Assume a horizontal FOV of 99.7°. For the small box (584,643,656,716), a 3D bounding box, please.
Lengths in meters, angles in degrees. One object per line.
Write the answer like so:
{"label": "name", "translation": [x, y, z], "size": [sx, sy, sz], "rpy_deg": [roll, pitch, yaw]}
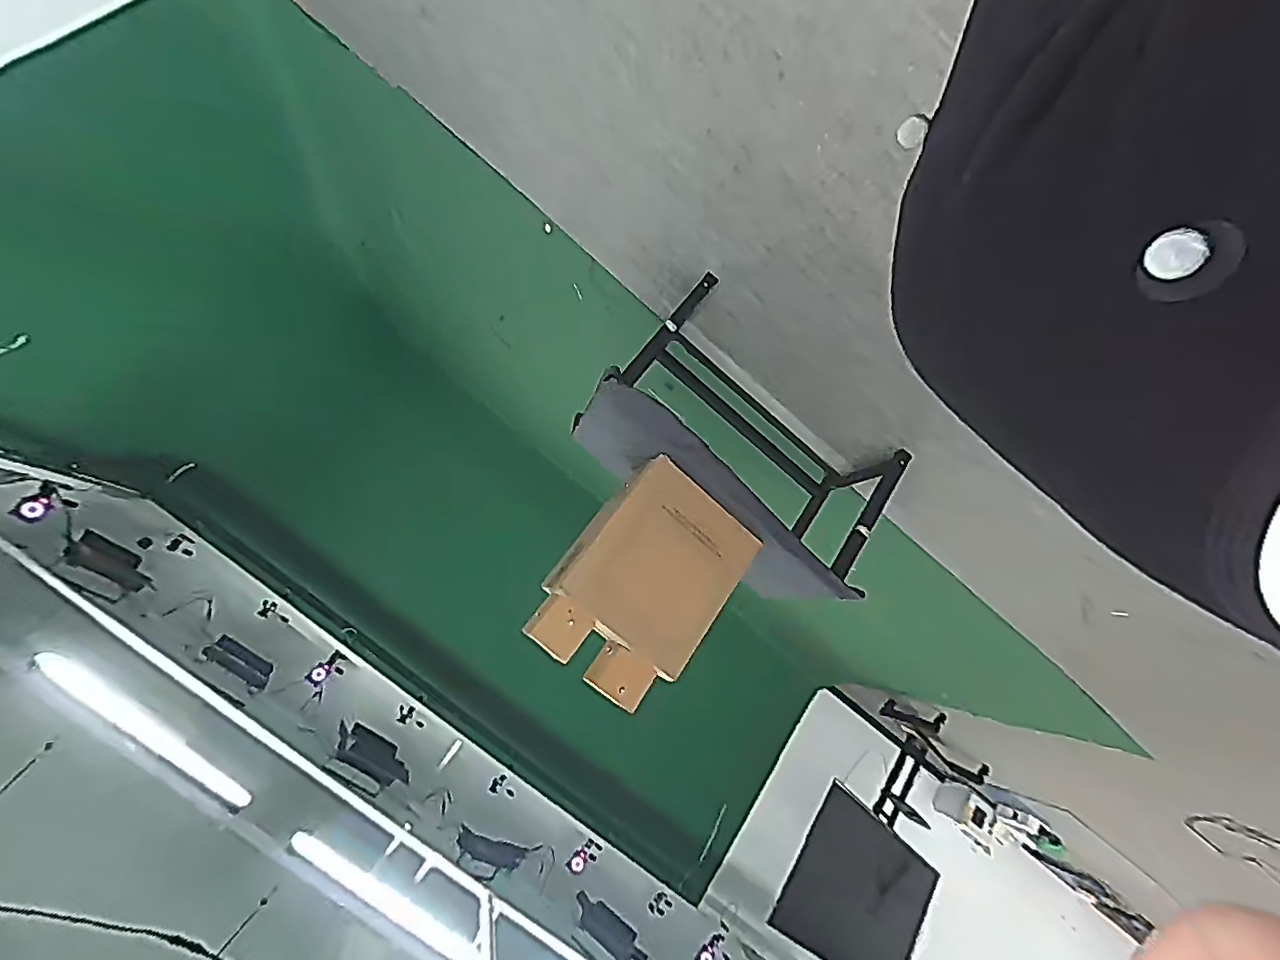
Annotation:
{"label": "small box", "translation": [-0.071, 0.721, 1.970], "size": [0.179, 0.176, 0.168], "rpy_deg": [43, 157, -10]}

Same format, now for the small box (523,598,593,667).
{"label": "small box", "translation": [-0.291, 0.539, 1.935], "size": [0.168, 0.176, 0.179], "rpy_deg": [43, 157, -9]}
